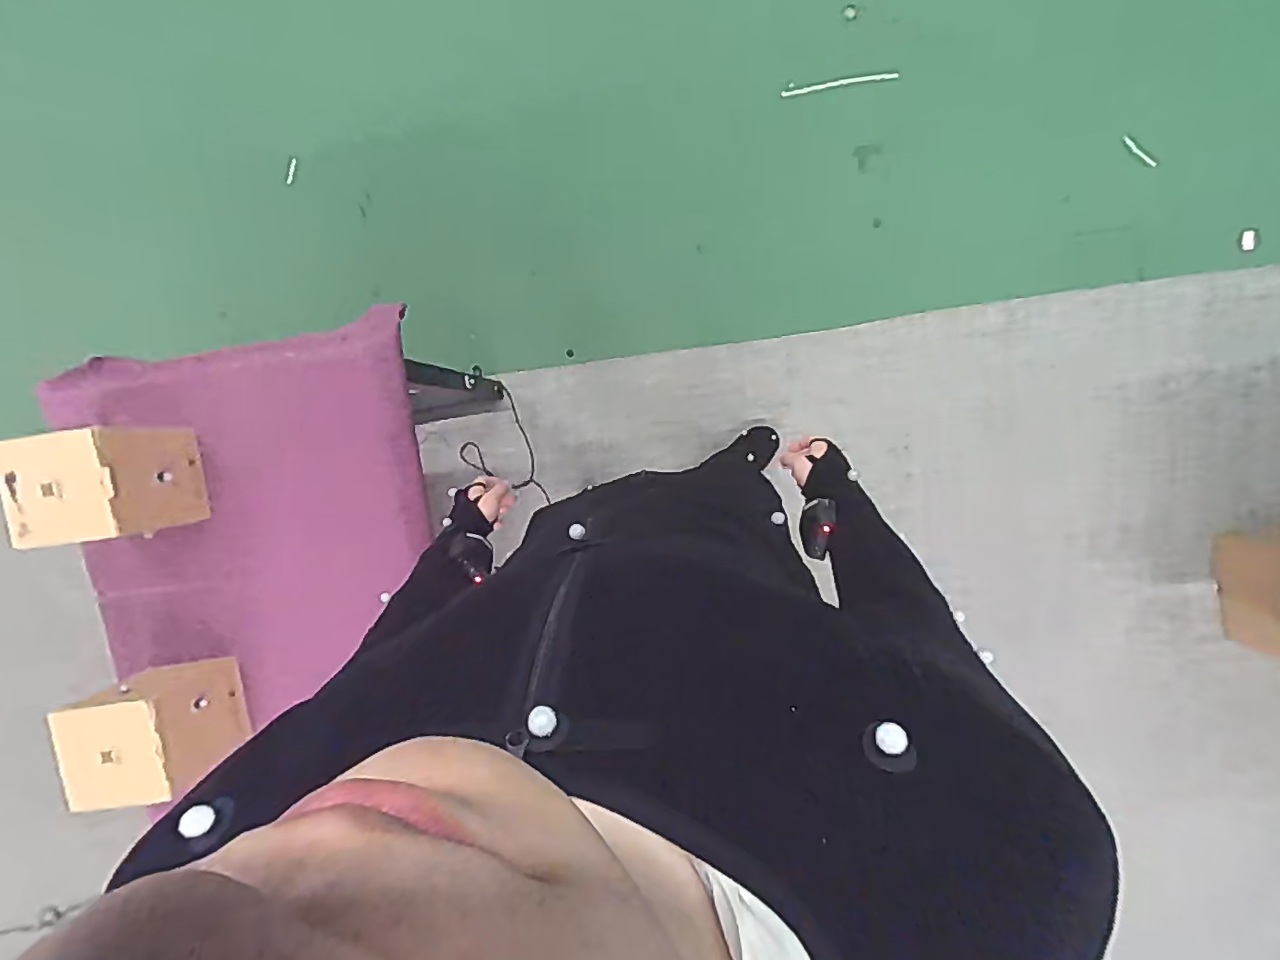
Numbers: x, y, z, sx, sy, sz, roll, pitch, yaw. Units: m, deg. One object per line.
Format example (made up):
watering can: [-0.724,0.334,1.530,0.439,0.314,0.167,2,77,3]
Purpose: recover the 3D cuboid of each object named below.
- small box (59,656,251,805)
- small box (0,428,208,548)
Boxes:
small box: [-0.808,0.417,0.925,0.179,0.176,0.168,-9,94,6]
small box: [-0.858,0.005,0.888,0.179,0.176,0.168,-7,95,5]
